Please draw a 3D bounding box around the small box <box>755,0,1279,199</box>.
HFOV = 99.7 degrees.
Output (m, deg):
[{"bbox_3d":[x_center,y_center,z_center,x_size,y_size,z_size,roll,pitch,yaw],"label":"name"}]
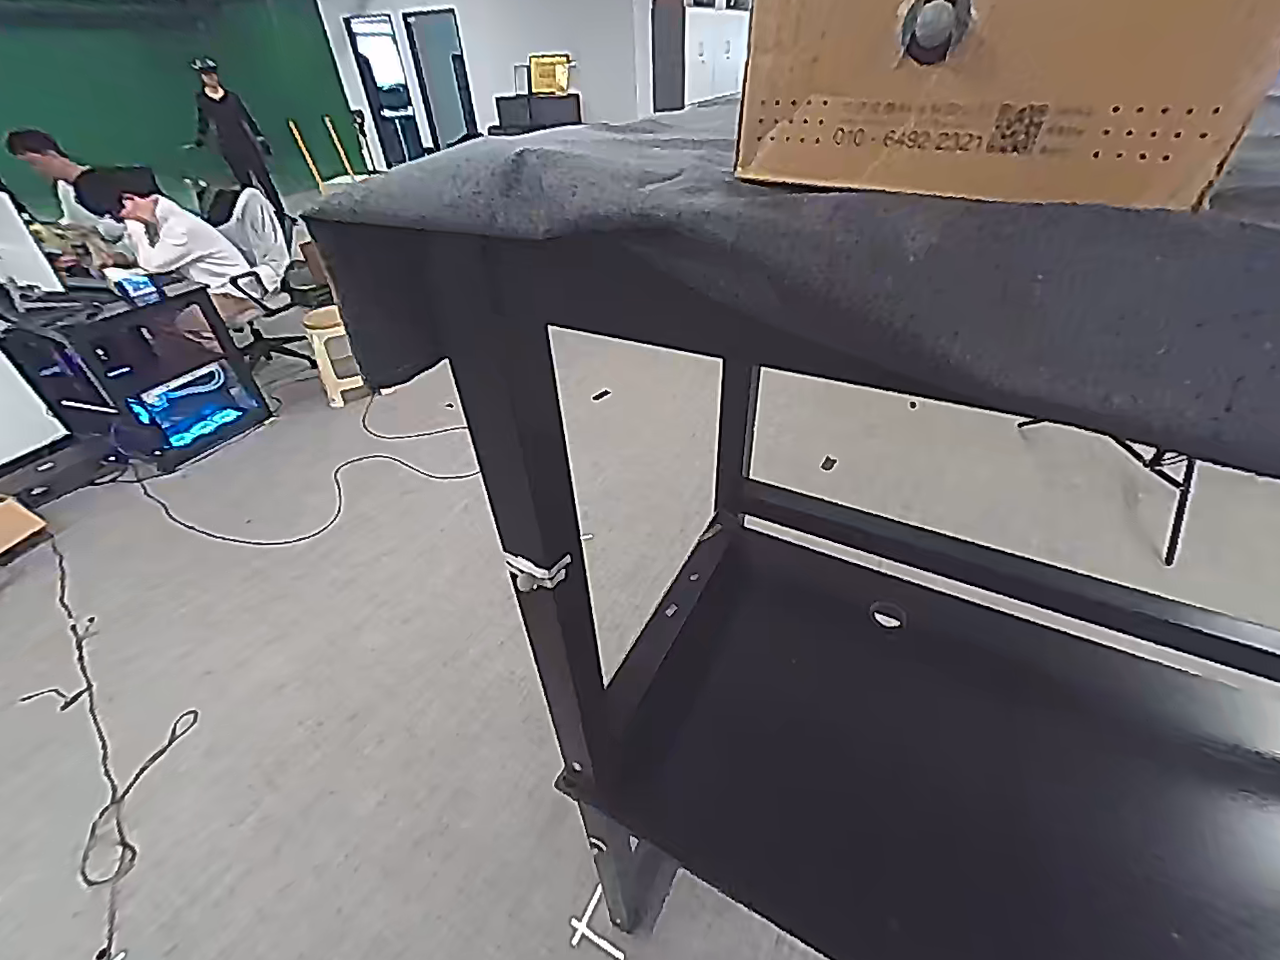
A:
[{"bbox_3d":[0.155,-0.227,0.218,0.168,0.176,0.179,18,41,22],"label":"small box"}]
